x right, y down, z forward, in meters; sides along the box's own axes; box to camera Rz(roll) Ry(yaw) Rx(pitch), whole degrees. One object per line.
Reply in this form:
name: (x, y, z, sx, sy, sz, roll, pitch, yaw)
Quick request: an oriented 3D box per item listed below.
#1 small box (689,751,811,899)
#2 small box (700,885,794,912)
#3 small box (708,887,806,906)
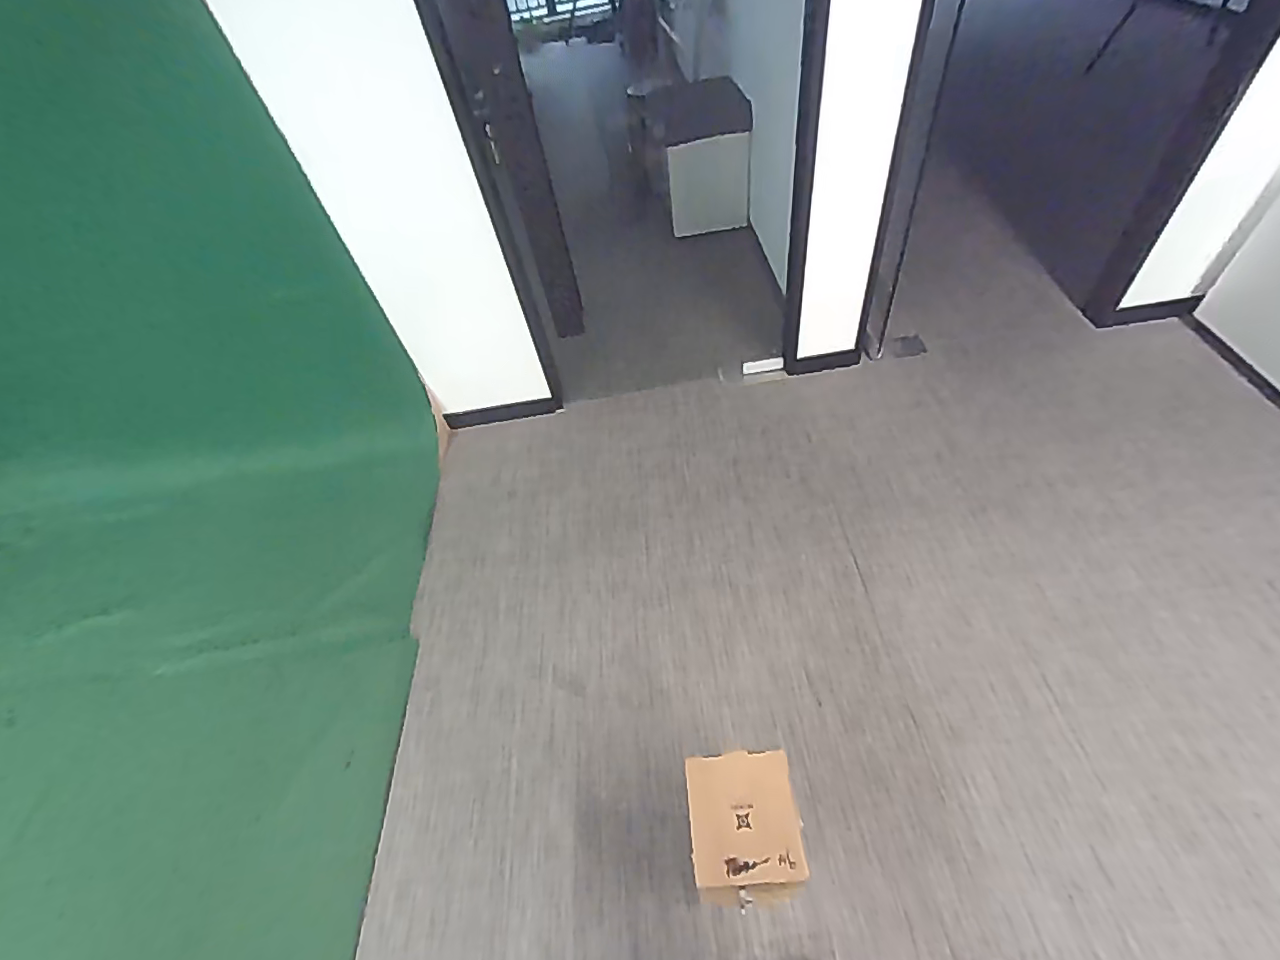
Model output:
small box: (0.173, 0.570, 0.891, 0.168, 0.176, 0.179, -8, 48, 5)
small box: (0.212, 0.791, 1.127, 0.179, 0.176, 0.168, -7, 48, 6)
small box: (0.204, 0.678, 1.011, 0.168, 0.176, 0.179, -8, 49, 6)
